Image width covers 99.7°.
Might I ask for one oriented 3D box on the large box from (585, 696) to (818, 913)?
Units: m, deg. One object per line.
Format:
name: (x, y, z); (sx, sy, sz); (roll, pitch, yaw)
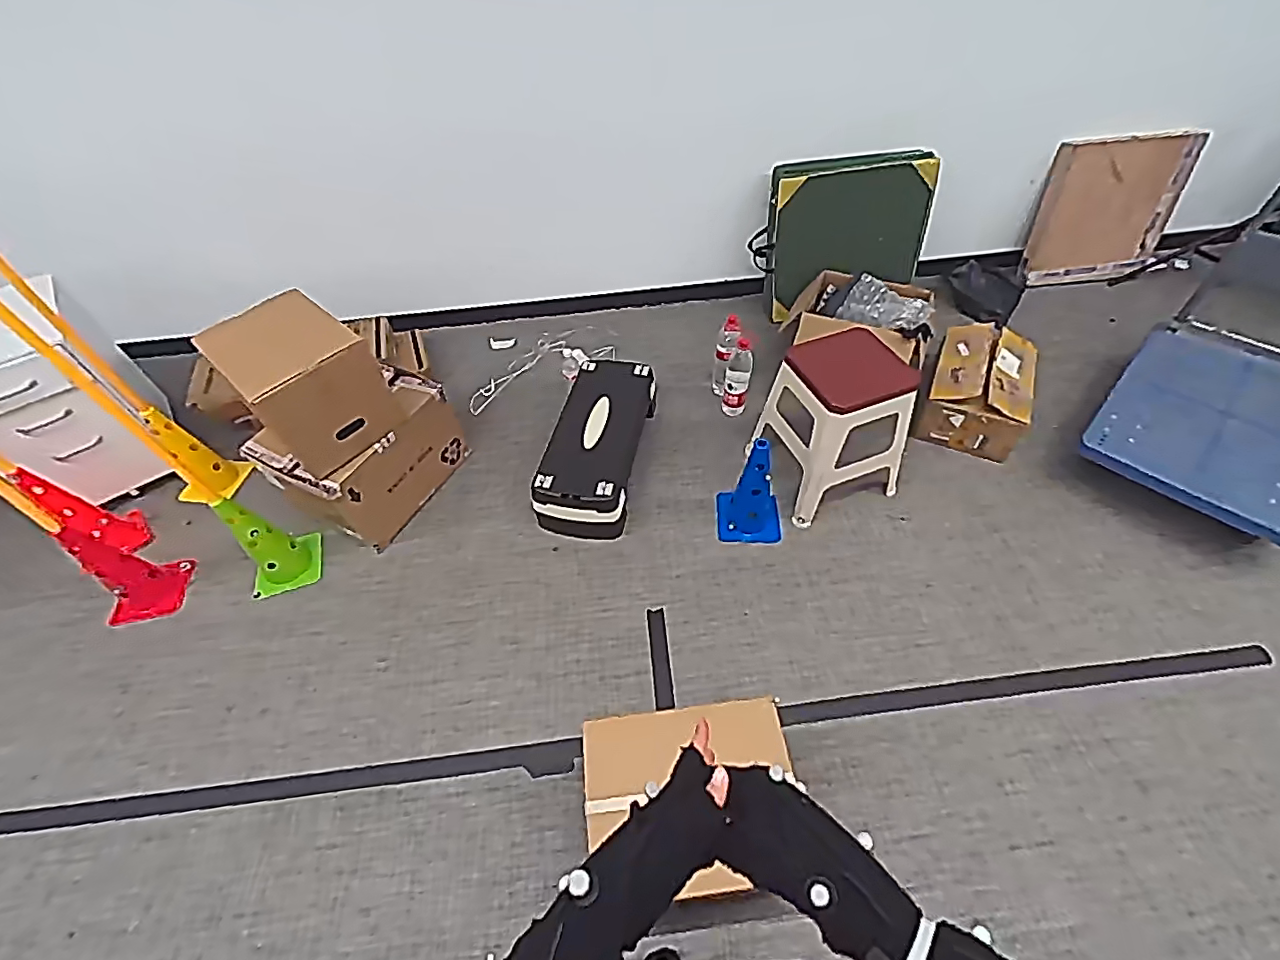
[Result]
large box: (0.104, 0.693, 1.151); (0.408, 0.320, 0.320); (-6, 51, -3)
